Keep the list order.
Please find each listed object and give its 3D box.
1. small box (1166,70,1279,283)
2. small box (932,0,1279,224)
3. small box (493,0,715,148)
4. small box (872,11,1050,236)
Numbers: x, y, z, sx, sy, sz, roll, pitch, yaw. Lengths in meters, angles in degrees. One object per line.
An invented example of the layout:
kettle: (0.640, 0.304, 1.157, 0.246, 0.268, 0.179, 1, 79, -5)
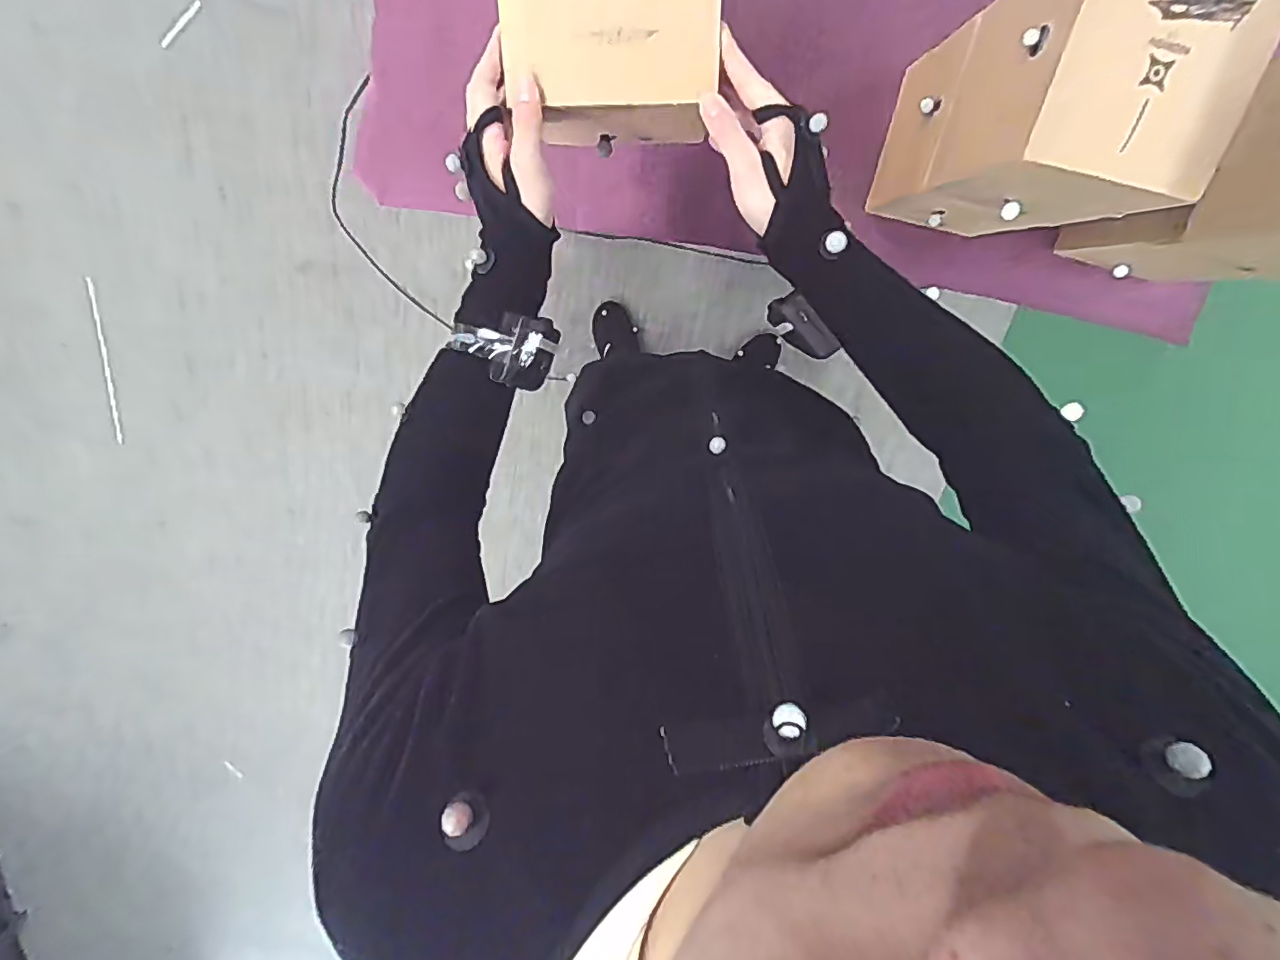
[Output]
small box: (0.688, -0.300, 0.524, 0.168, 0.176, 0.179, 13, 109, -4)
small box: (0.413, -0.358, 0.506, 0.168, 0.176, 0.179, 12, 109, -4)
small box: (-0.025, -0.401, 0.461, 0.168, 0.176, 0.179, 1, 113, 2)
small box: (0.411, -0.411, 0.661, 0.168, 0.176, 0.179, 11, 108, -4)
